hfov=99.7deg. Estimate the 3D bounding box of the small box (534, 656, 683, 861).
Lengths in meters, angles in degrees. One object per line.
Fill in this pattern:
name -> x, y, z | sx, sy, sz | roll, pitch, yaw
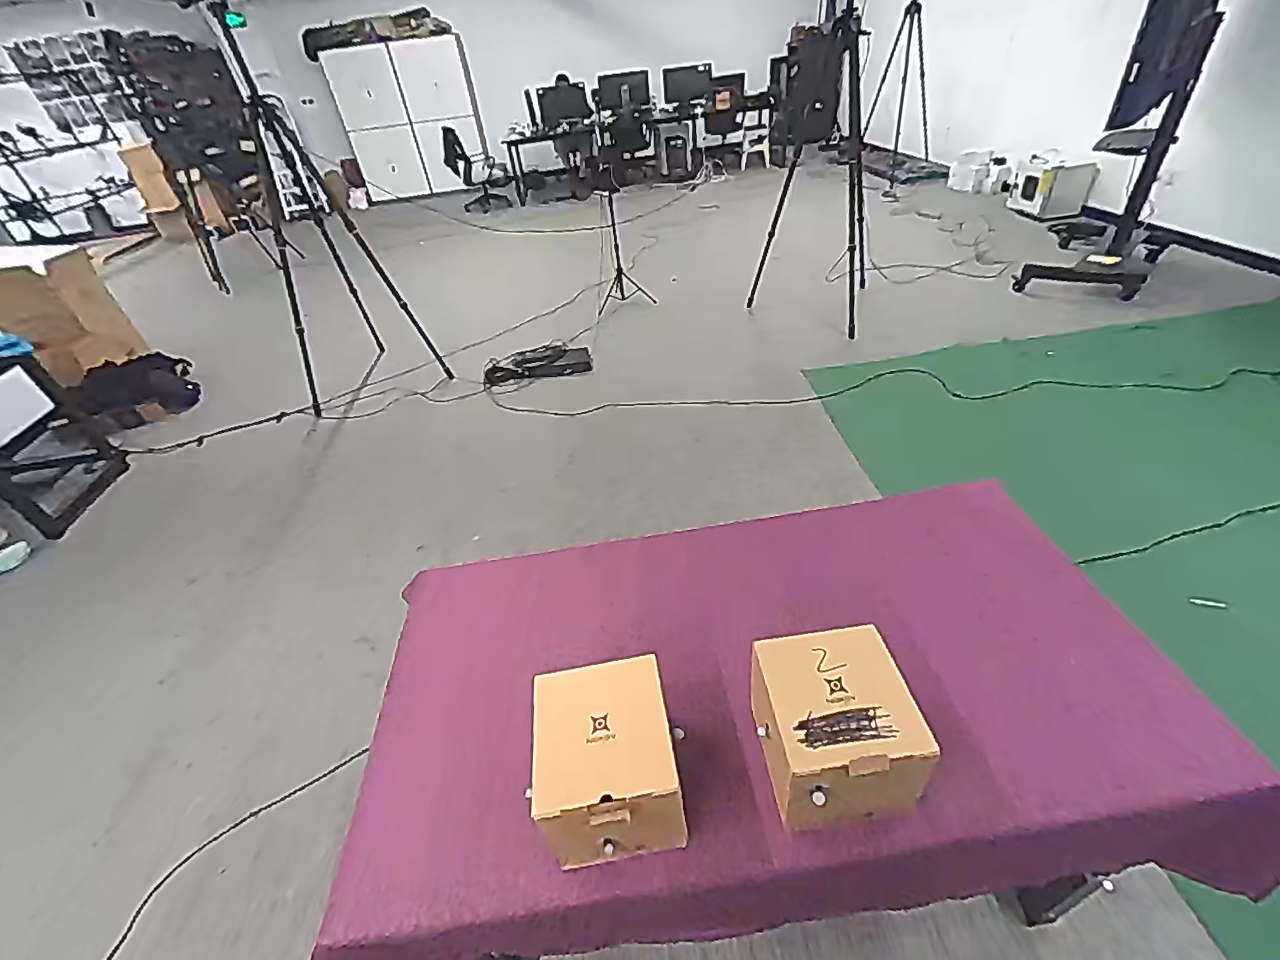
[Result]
small box -> -0.041, 0.368, 0.720 | 0.168, 0.176, 0.179 | -10, 40, -2
